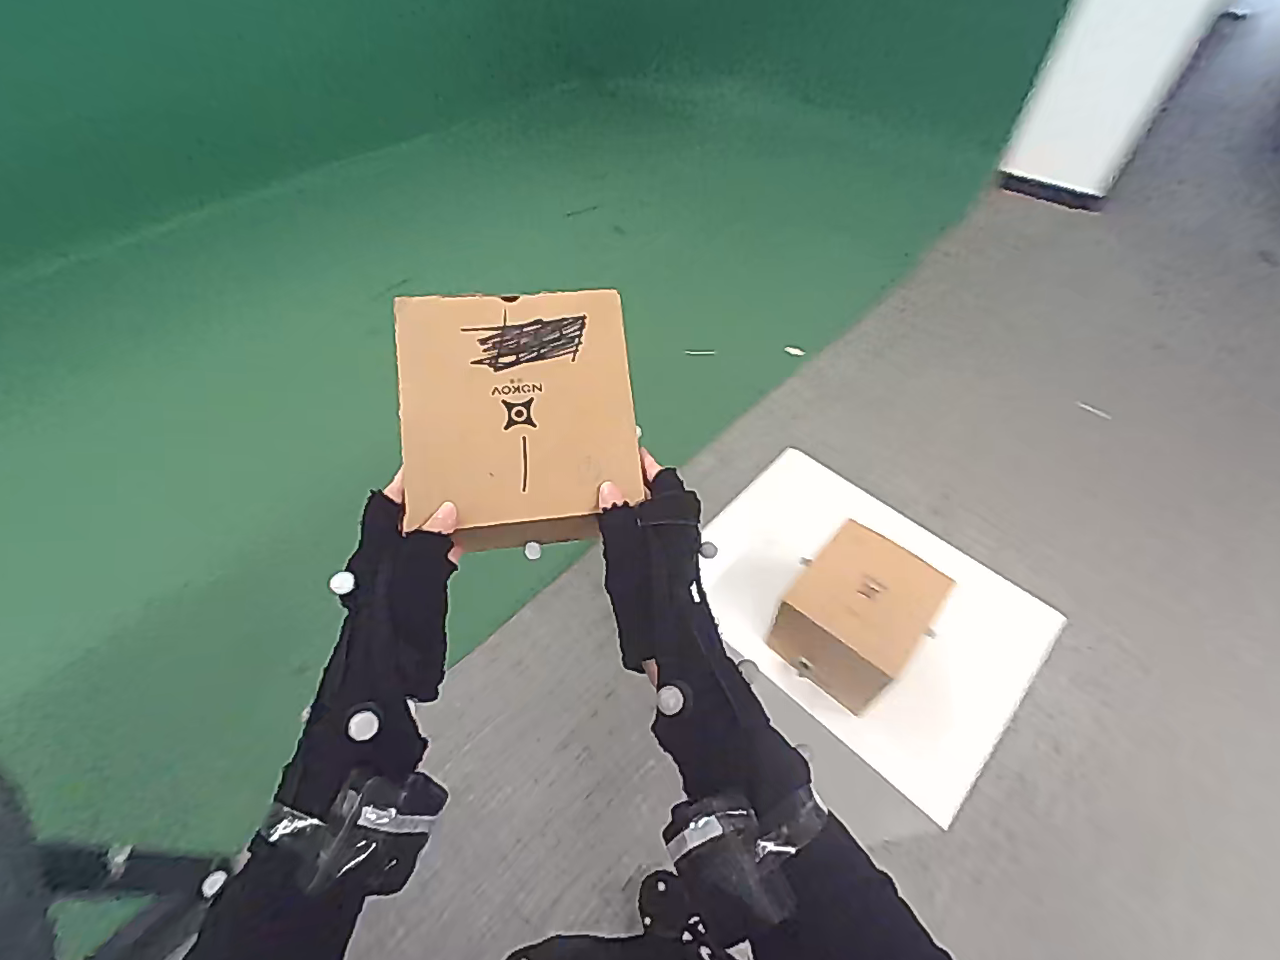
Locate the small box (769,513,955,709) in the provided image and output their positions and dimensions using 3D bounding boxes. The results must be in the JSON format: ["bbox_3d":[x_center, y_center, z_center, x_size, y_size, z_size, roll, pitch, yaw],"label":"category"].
[{"bbox_3d":[0.299,0.186,0.764,0.168,0.176,0.179,34,63,27],"label":"small box"}]
